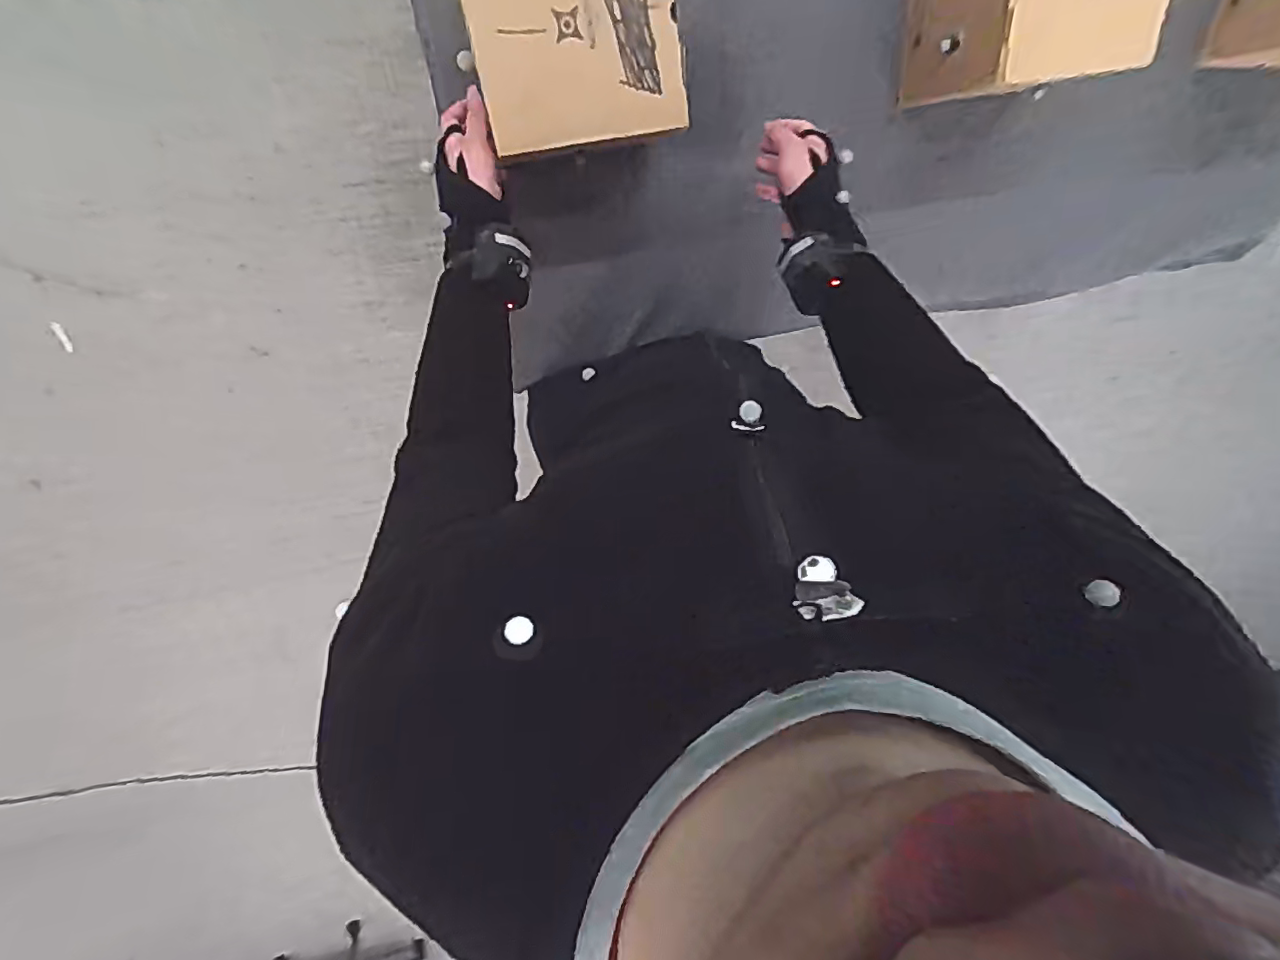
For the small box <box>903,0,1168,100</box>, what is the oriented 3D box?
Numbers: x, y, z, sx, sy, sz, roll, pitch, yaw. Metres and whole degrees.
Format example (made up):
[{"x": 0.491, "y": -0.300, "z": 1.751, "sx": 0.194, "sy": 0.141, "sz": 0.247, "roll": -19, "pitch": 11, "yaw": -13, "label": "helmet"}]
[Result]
[{"x": 0.409, "y": -0.515, "z": 0.567, "sx": 0.179, "sy": 0.176, "sz": 0.168, "roll": -13, "pitch": 122, "yaw": -8, "label": "small box"}]

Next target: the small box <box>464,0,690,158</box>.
[{"x": -0.065, "y": -0.409, "z": 0.507, "sx": 0.179, "sy": 0.176, "sz": 0.168, "roll": -13, "pitch": 120, "yaw": -6, "label": "small box"}]

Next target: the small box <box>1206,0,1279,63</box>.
[{"x": 0.835, "y": -0.596, "z": 0.621, "sx": 0.179, "sy": 0.176, "sz": 0.168, "roll": -7, "pitch": 120, "yaw": -9, "label": "small box"}]
